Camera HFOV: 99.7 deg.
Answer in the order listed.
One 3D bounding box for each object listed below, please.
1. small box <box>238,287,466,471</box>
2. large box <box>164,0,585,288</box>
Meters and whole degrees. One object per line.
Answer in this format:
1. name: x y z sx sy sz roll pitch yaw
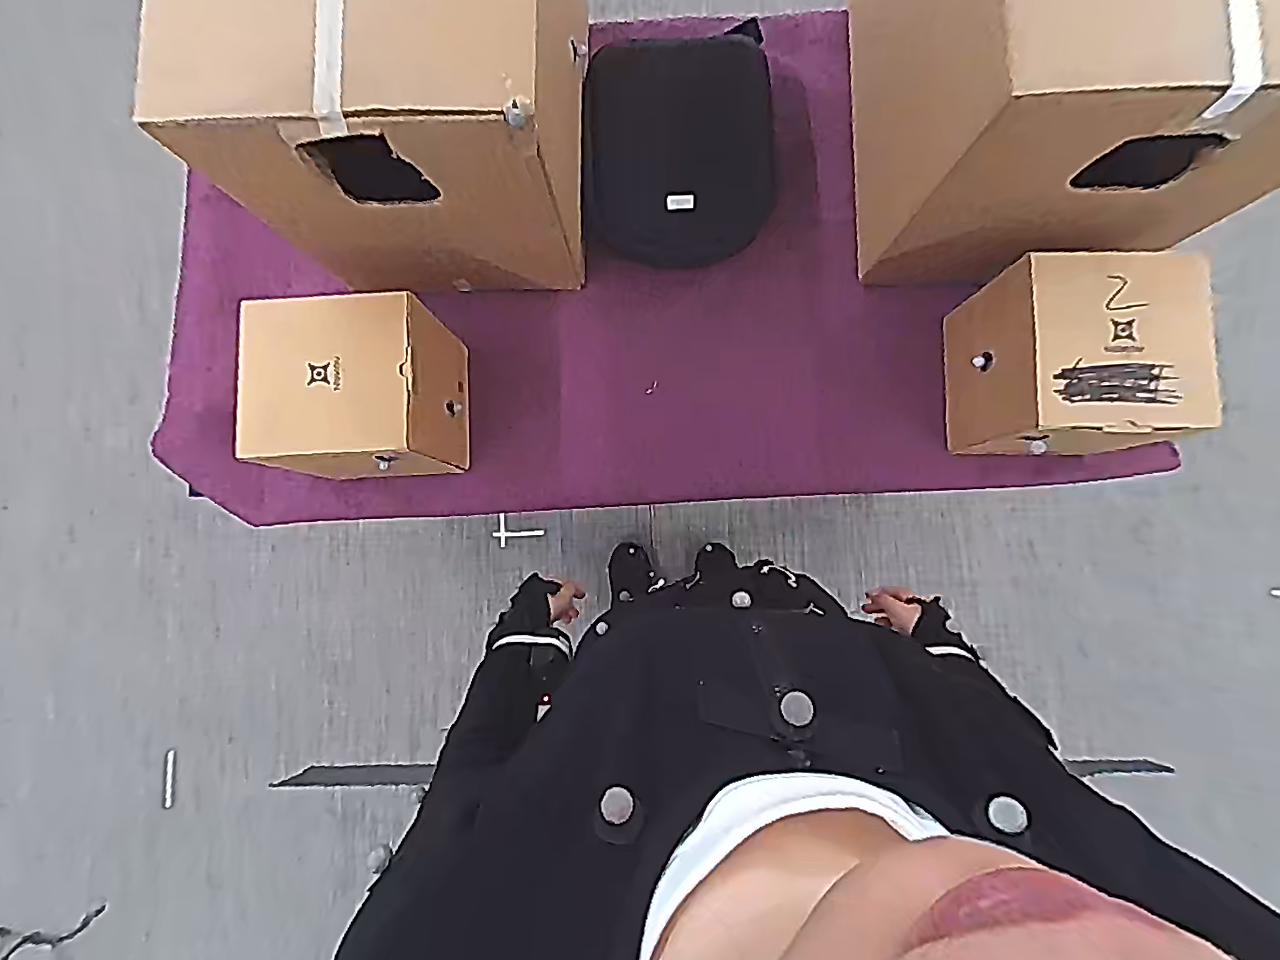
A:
1. small box: -0.318 -0.104 0.628 0.179 0.176 0.168 -4 84 1
2. large box: -0.232 -0.464 0.587 0.320 0.320 0.408 -1 88 3
